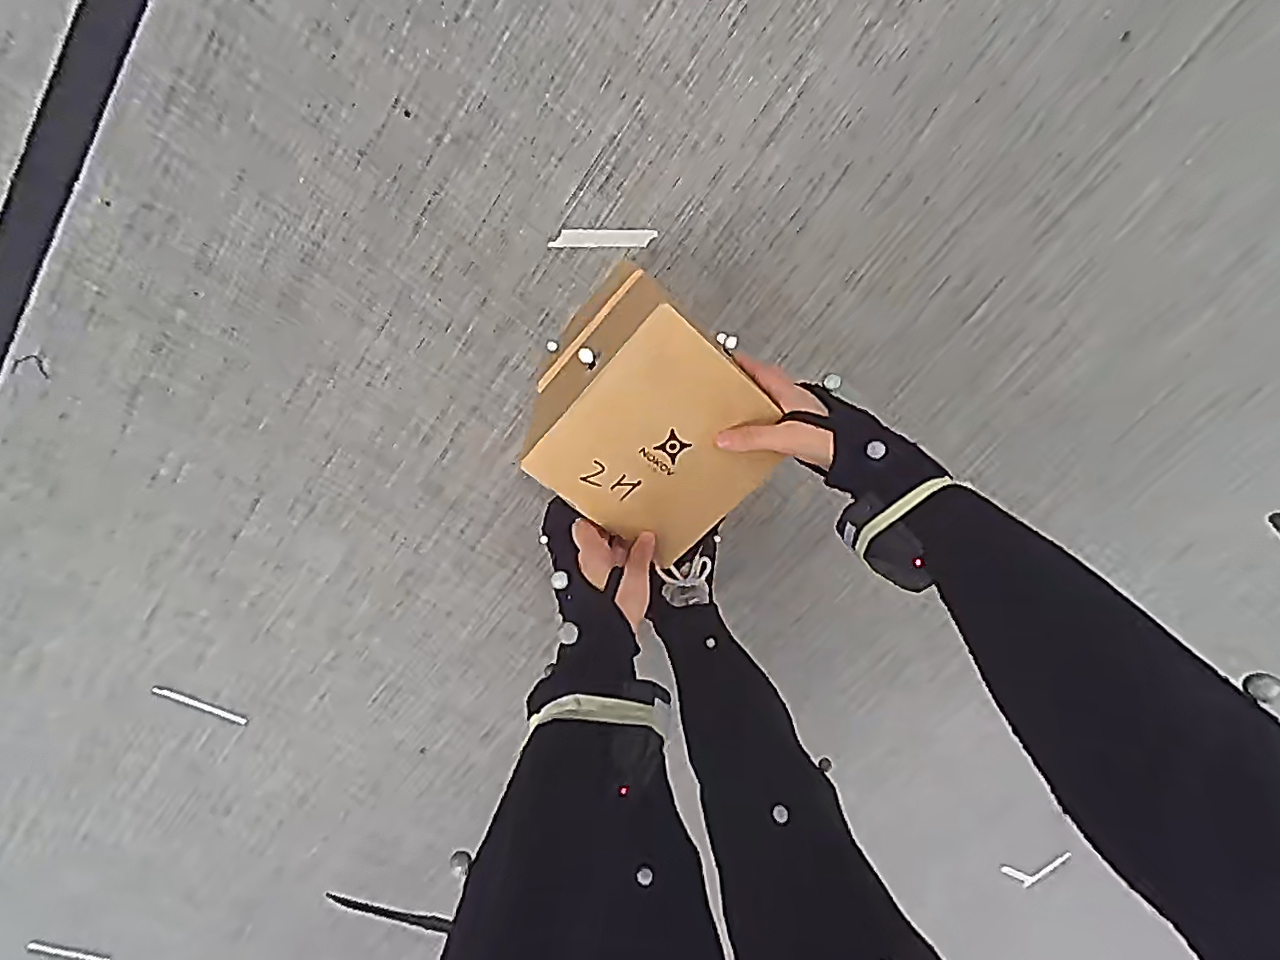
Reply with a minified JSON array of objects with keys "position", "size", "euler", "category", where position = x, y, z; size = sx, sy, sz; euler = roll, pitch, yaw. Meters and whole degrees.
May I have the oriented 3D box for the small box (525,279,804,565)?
[{"position":[0.014,-0.063,0.510],"size":[0.168,0.176,0.179],"euler":[38,109,-21],"category":"small box"}]
